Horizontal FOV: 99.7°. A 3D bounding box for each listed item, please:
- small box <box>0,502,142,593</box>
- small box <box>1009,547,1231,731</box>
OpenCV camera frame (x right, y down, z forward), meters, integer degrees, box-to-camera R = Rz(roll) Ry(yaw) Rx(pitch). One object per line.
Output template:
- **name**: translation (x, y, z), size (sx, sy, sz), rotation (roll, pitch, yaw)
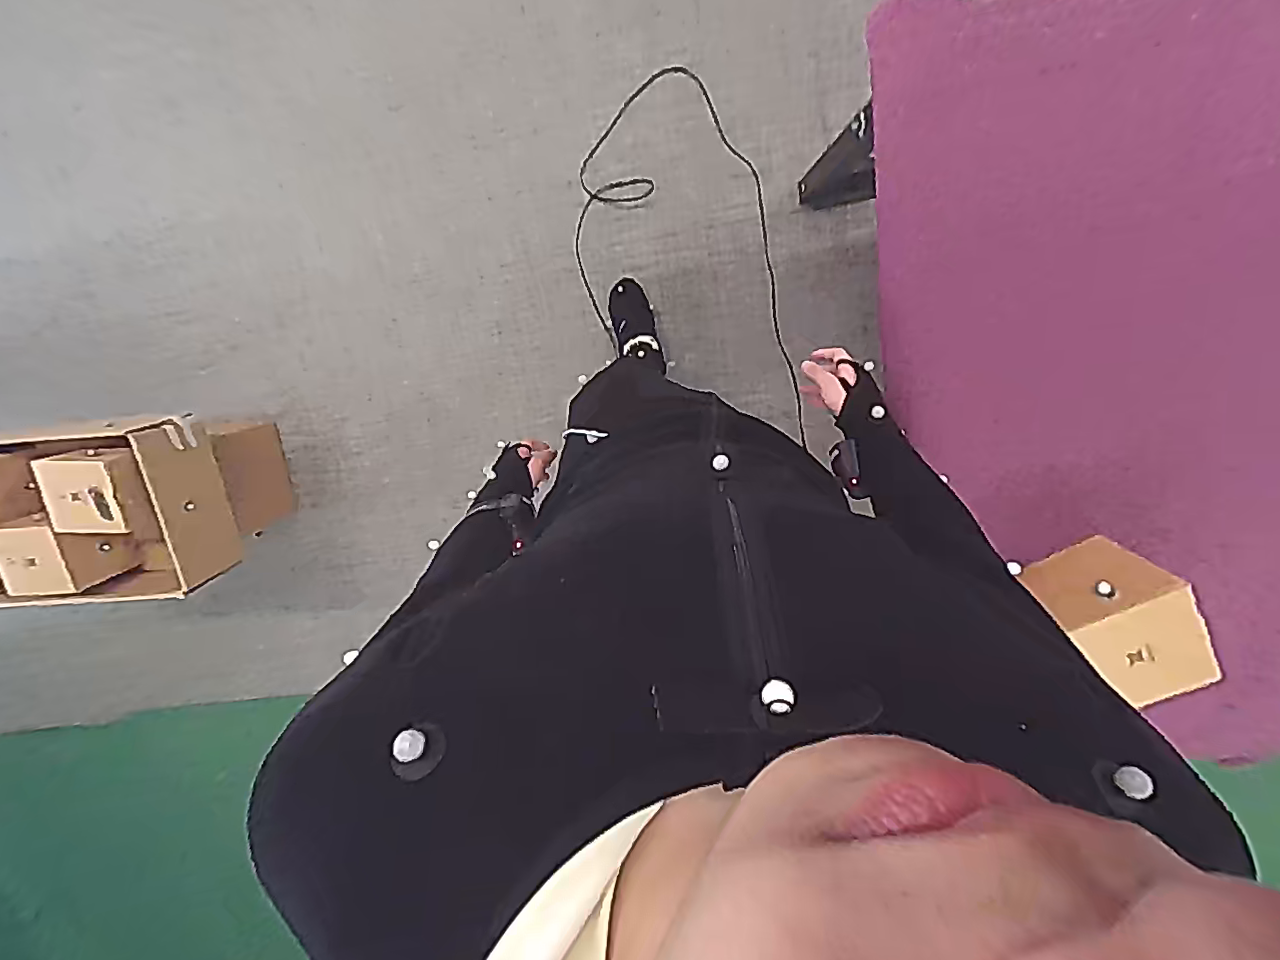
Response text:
- **small box**: translation (-1.355, 0.156, 1.296), size (0.179, 0.176, 0.168), rotation (-3, 105, 5)
- **small box**: translation (0.700, 0.230, 0.815), size (0.179, 0.176, 0.168), rotation (-28, 102, 12)
